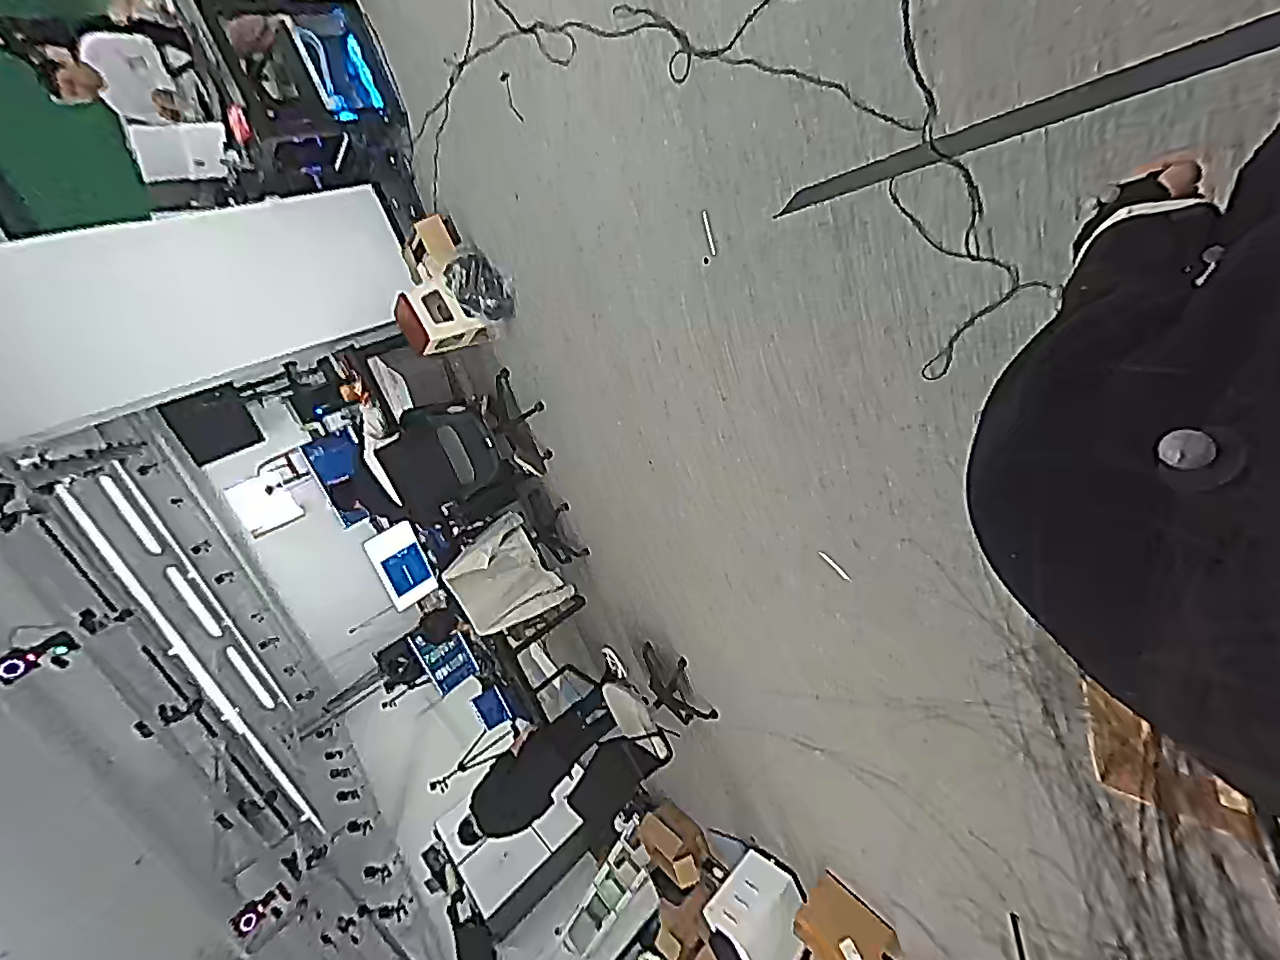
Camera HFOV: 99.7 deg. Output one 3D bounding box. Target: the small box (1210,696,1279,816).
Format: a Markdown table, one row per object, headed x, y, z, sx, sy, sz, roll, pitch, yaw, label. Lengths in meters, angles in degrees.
| x | y | z | sx | sy | sz | roll | pitch | yaw | label |
| --- | --- | --- | --- | --- | --- | --- | --- | --- | --- |
| 1.433 | 0.630 | 1.223 | 0.168 | 0.176 | 0.179 | -6 | 112 | 55 | small box |
